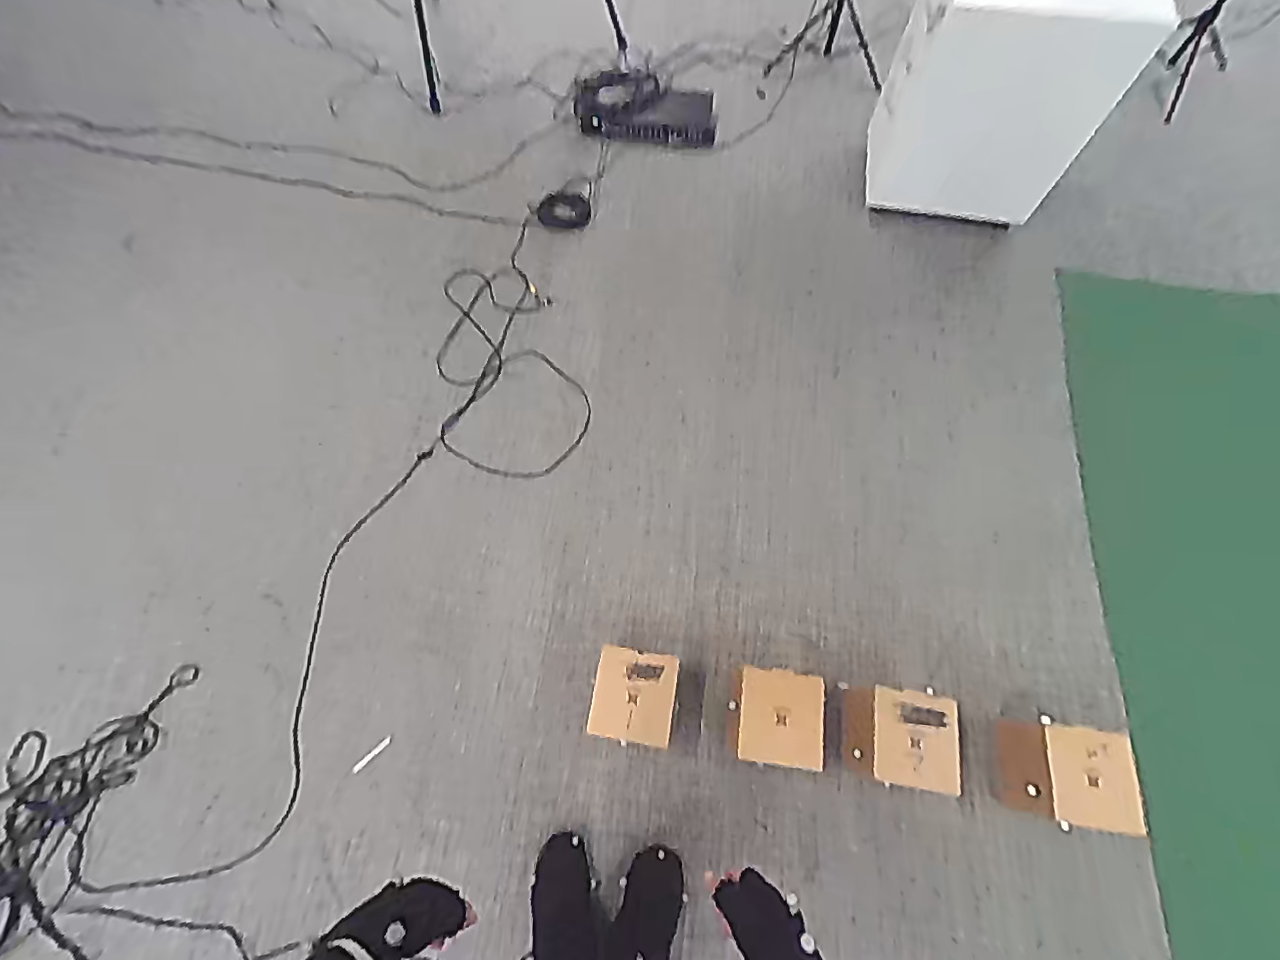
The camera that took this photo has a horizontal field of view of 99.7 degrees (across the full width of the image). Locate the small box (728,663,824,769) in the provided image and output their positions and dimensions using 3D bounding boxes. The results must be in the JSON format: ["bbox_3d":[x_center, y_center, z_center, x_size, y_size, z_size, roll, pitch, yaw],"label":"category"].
[{"bbox_3d":[0.283,0.495,1.144,0.168,0.176,0.179,7,66,4],"label":"small box"}]

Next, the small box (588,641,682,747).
[{"bbox_3d":[-0.008,0.457,1.160,0.168,0.176,0.179,9,68,4],"label":"small box"}]

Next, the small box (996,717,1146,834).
[{"bbox_3d":[0.864,0.591,1.103,0.168,0.176,0.179,8,68,3],"label":"small box"}]
